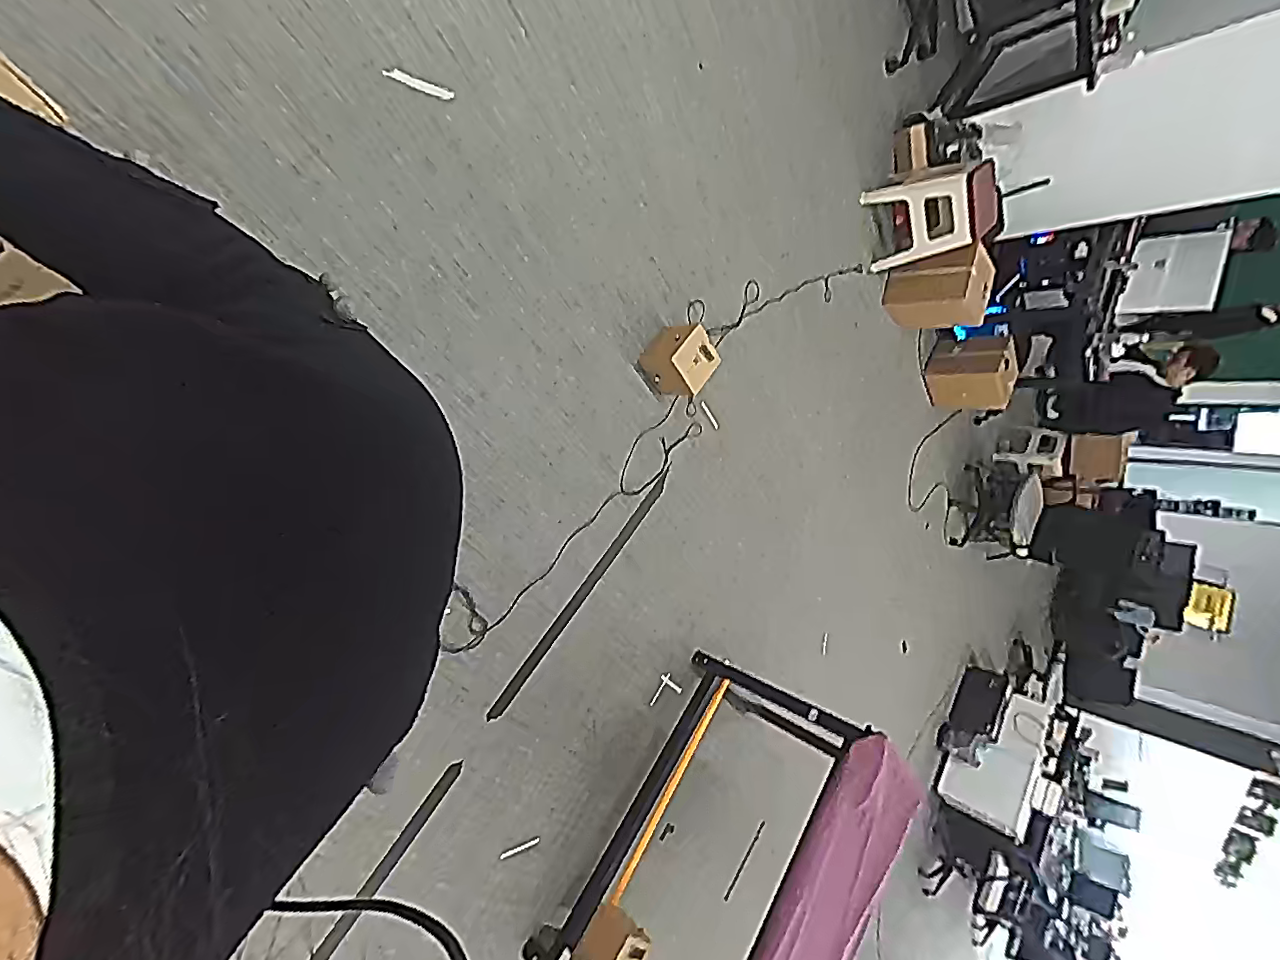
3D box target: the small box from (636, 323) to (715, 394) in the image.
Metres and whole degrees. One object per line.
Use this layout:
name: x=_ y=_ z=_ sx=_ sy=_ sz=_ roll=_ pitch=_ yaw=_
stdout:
small box: x=0.119 y=-0.411 z=1.837 sx=0.179 sy=0.176 sz=0.168 roll=-54 pitch=128 yaw=-20
